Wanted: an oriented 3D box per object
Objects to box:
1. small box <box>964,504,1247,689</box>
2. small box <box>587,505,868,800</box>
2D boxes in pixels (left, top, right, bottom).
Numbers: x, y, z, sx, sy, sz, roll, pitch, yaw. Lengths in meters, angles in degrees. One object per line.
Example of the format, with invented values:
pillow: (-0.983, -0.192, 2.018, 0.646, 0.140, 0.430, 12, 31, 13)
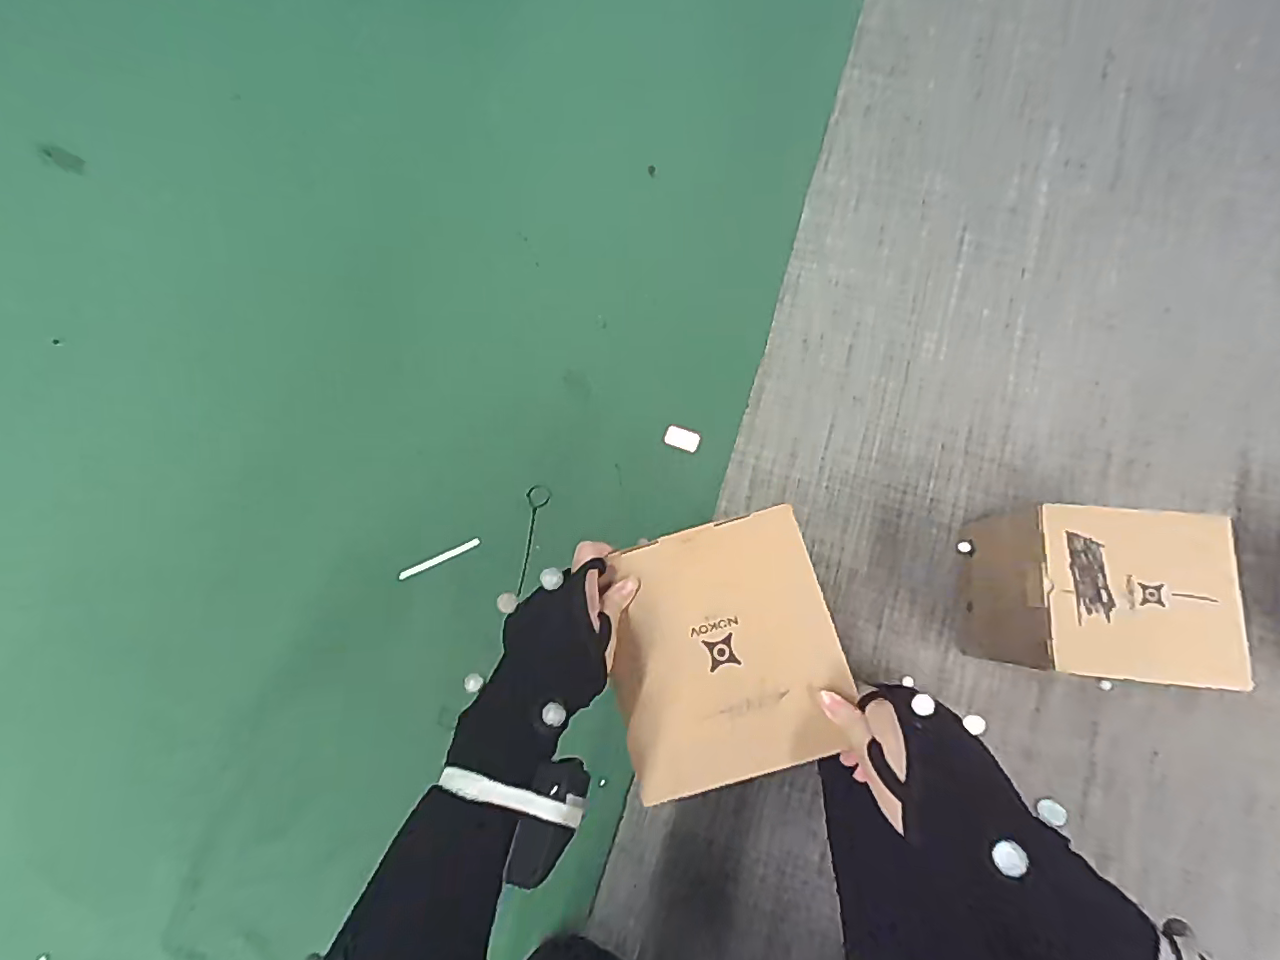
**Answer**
small box: (0.484, 0.127, 0.599, 0.179, 0.176, 0.168, 4, 77, 5)
small box: (0.064, 0.139, 0.469, 0.168, 0.176, 0.179, -17, 76, 2)
